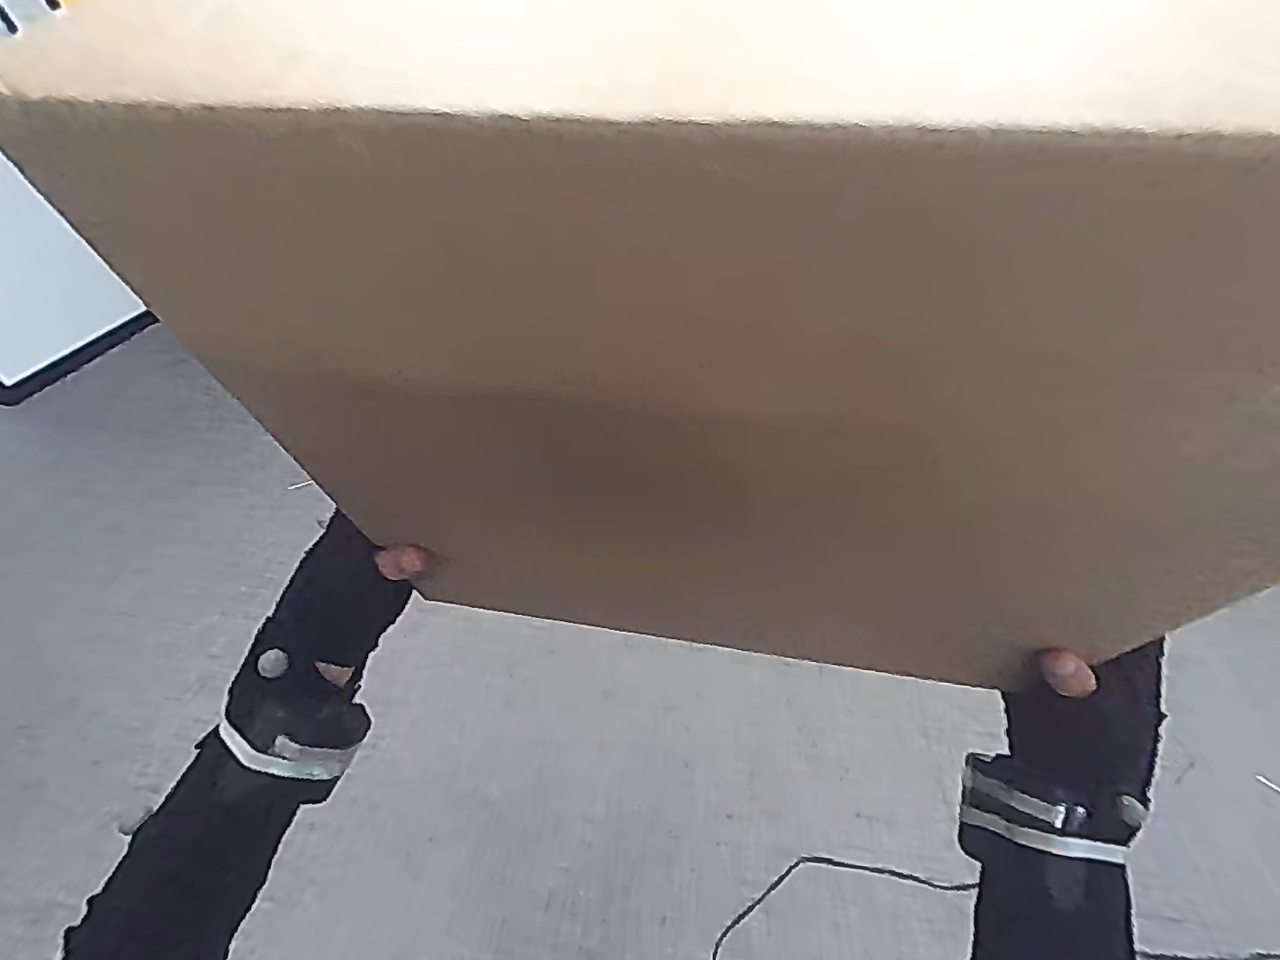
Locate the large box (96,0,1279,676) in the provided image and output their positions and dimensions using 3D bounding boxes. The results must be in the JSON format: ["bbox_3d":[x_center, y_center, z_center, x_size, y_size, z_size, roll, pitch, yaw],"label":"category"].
[{"bbox_3d":[0.077,-0.102,0.326,0.408,0.320,0.320,7,56,5],"label":"large box"}]
